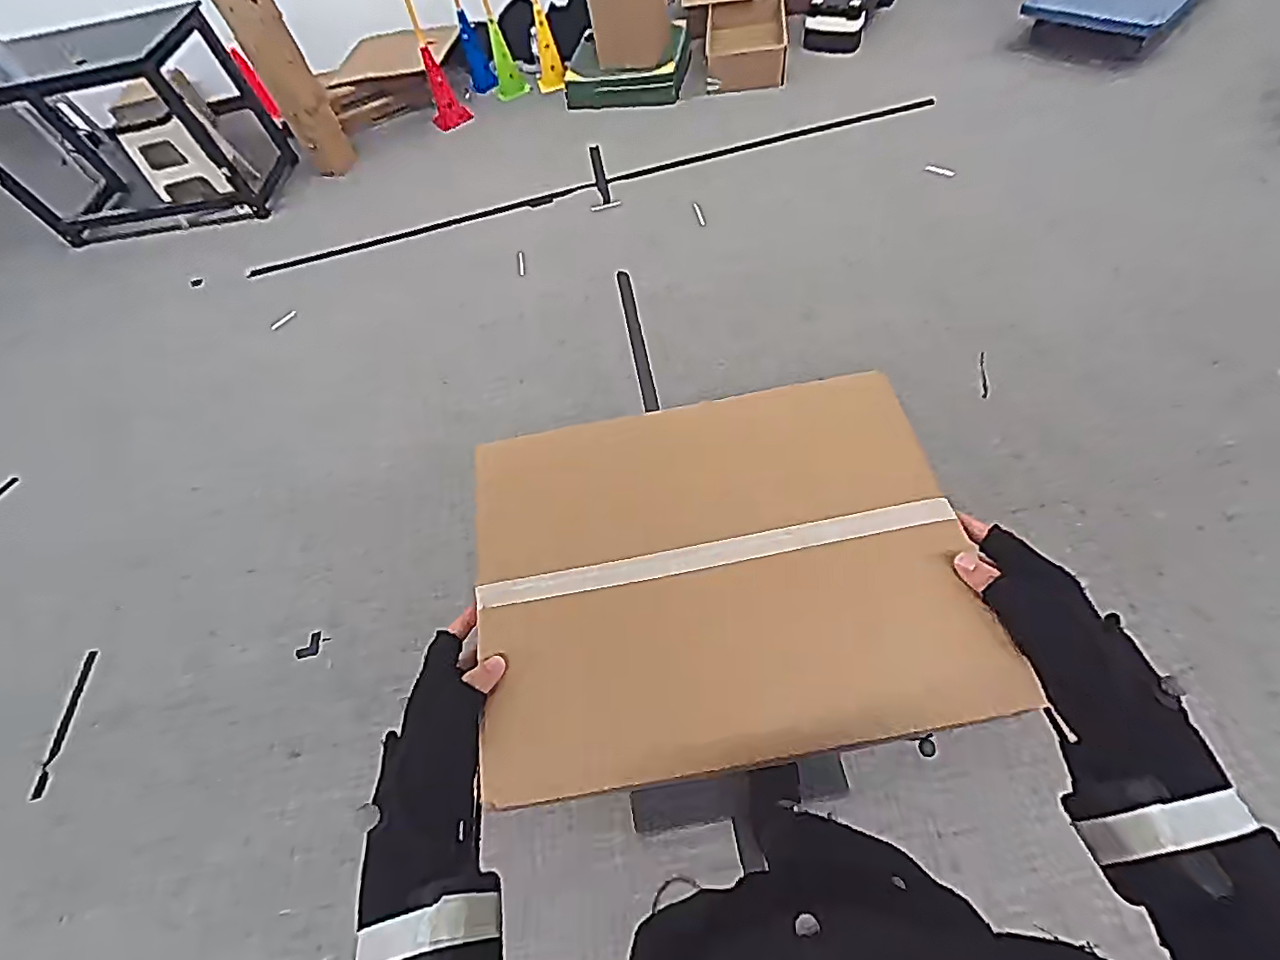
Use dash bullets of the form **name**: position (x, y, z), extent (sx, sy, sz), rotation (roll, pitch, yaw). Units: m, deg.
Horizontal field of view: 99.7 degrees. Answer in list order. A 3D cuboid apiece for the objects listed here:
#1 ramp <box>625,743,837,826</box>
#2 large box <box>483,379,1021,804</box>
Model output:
- **ramp**: position (0.124, 0.288, 1.410), extent (0.509, 0.206, 0.991), rotation (-13, 59, -1)
- **large box**: position (0.077, 0.136, 0.596), extent (0.408, 0.320, 0.320), rotation (-10, 60, -1)
